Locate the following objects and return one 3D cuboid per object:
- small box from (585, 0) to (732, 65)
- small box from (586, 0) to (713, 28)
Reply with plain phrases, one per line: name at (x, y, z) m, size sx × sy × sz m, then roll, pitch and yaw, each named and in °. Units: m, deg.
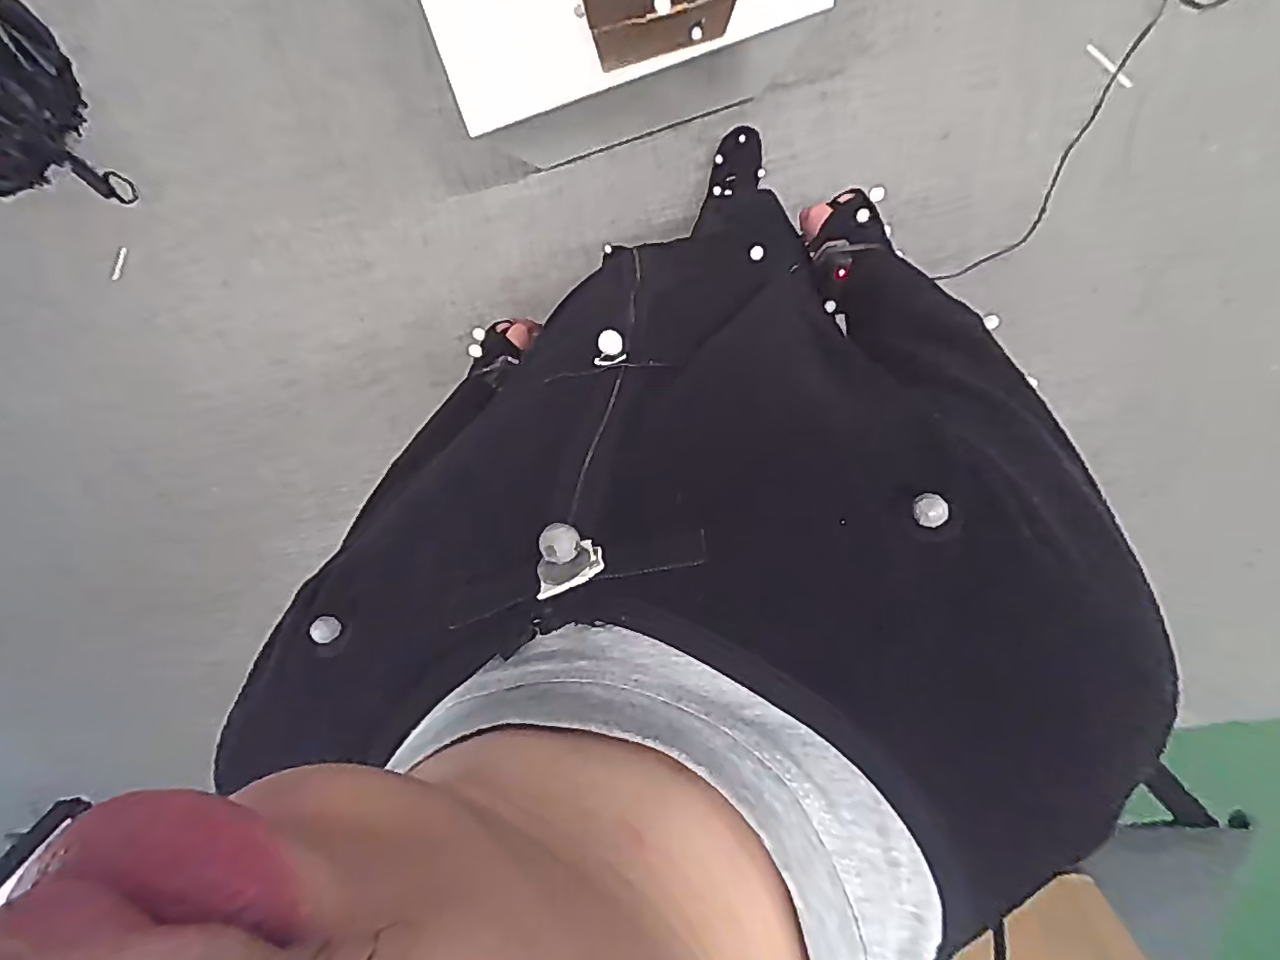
small box at (0.011, -0.603, 0.609) m, size 0.168 × 0.176 × 0.179 m, roll -12°, pitch 113°, yaw 6°
small box at (0.009, -0.535, 0.459) m, size 0.168 × 0.176 × 0.179 m, roll -11°, pitch 115°, yaw 6°
